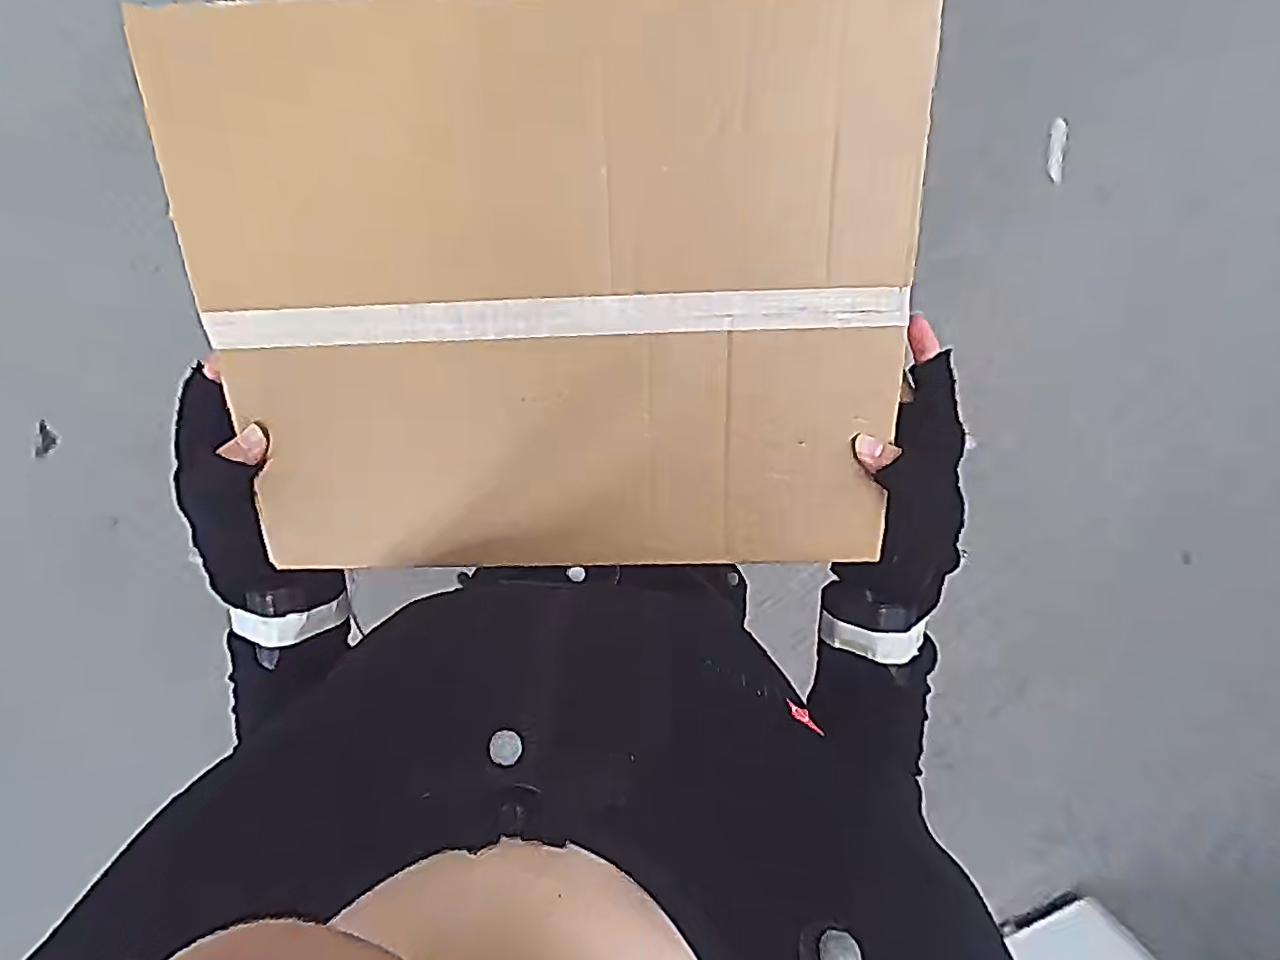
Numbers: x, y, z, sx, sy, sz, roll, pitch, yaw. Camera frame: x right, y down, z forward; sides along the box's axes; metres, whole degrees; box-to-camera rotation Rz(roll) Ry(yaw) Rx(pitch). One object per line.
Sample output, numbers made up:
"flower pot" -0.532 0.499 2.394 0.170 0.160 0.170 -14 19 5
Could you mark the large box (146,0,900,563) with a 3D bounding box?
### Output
"large box" -0.056 -0.143 0.463 0.408 0.320 0.320 -3 108 2
